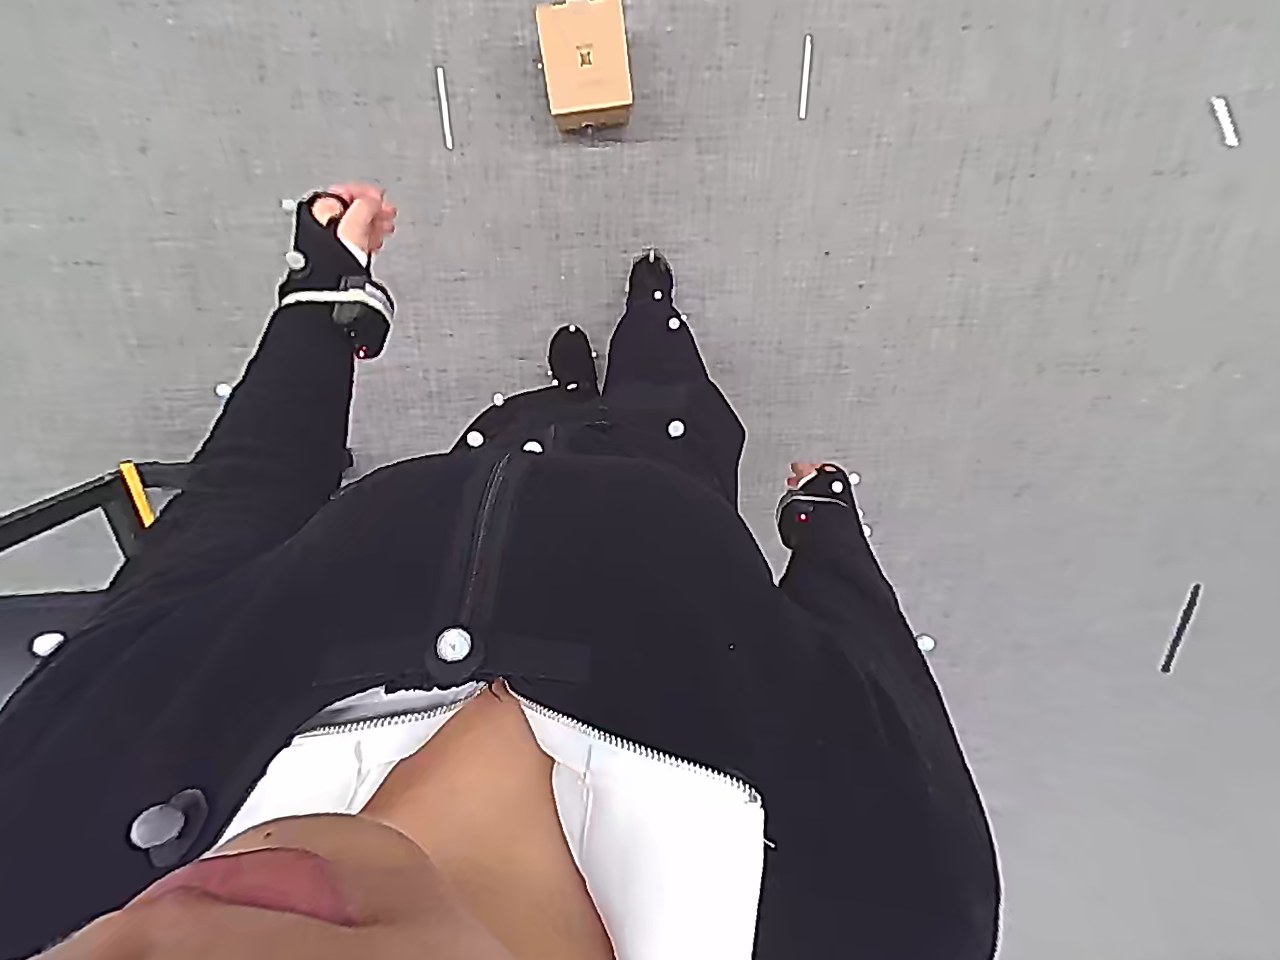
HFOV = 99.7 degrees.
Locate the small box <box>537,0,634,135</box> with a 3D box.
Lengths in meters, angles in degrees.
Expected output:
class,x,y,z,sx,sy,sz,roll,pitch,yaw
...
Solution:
class,x,y,z,sx,sy,sz,roll,pitch,yaw
small box,-0.107,-0.836,1.111,0.168,0.176,0.179,-8,113,1
